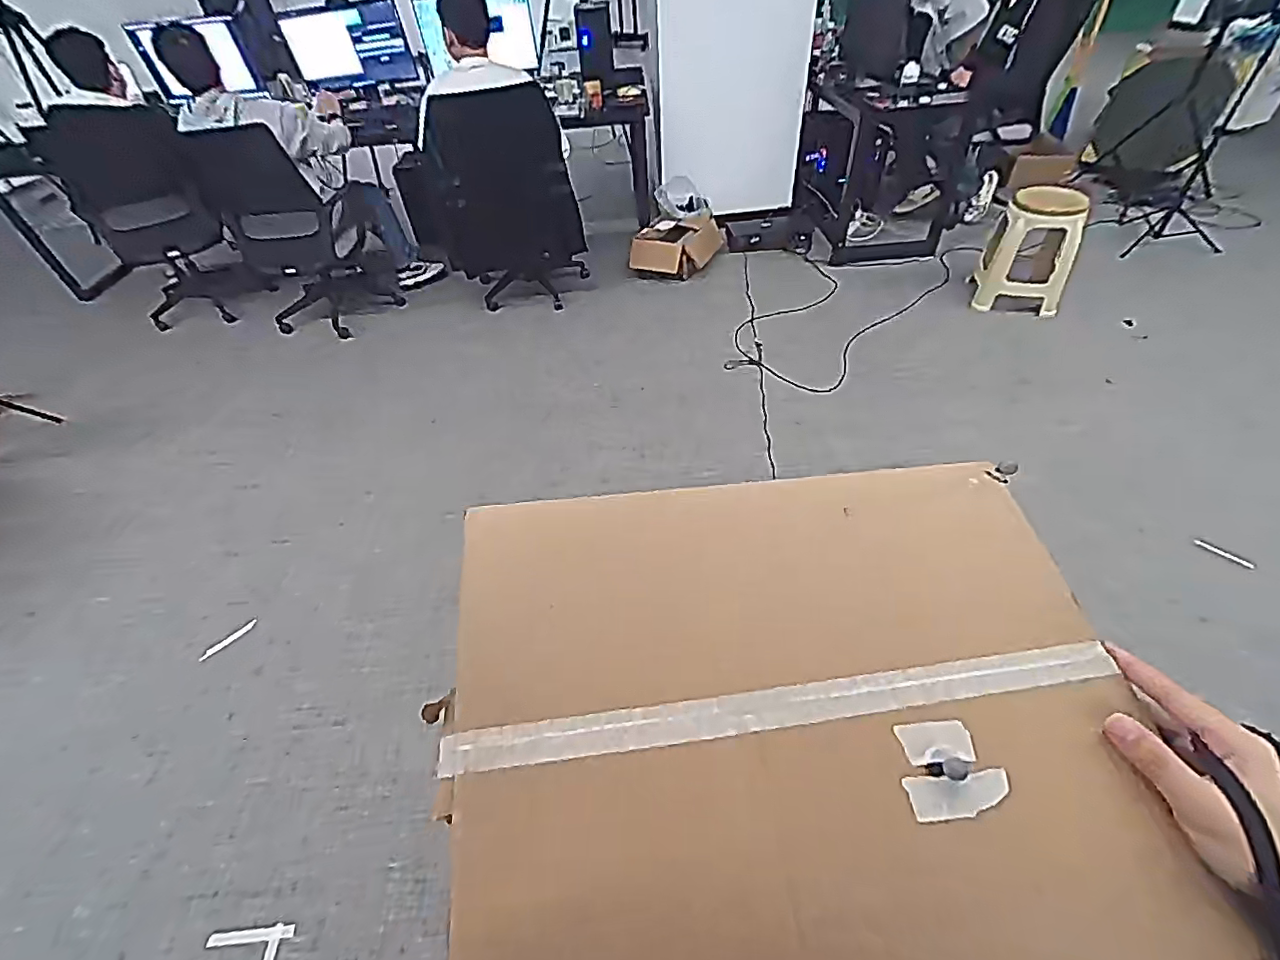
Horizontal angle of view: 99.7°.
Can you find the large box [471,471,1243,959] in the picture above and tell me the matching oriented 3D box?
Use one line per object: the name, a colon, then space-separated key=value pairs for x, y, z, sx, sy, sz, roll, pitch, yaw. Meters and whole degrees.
large box: x=0.088 y=0.220 z=0.457 sx=0.408 sy=0.320 sz=0.320 roll=-5 pitch=58 yaw=-8
